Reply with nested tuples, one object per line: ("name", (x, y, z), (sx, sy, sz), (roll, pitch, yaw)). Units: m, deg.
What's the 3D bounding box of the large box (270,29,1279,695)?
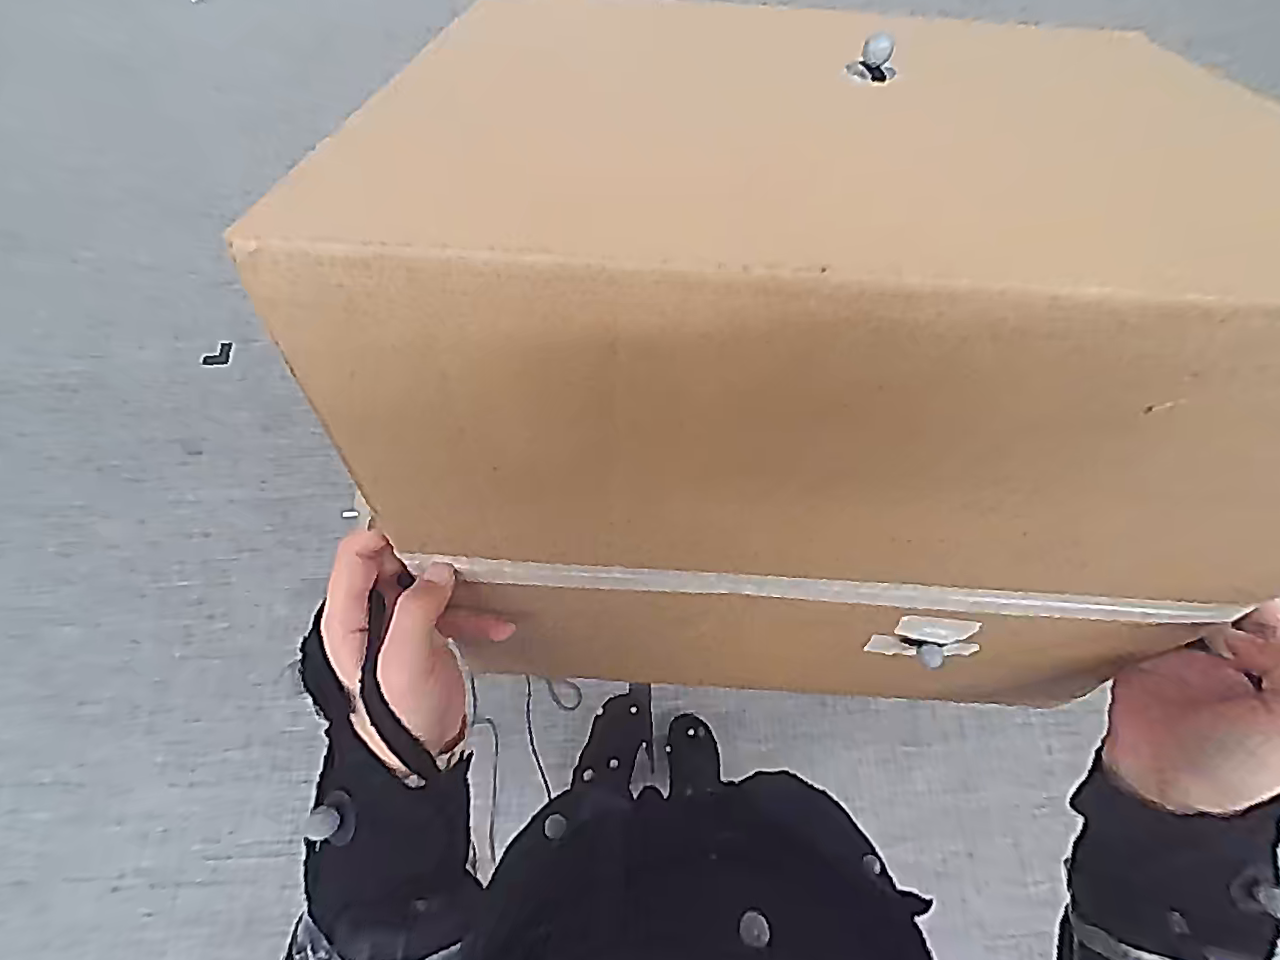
("large box", (0.090, -0.068, 0.360), (0.408, 0.320, 0.320), (2, 52, 0))
